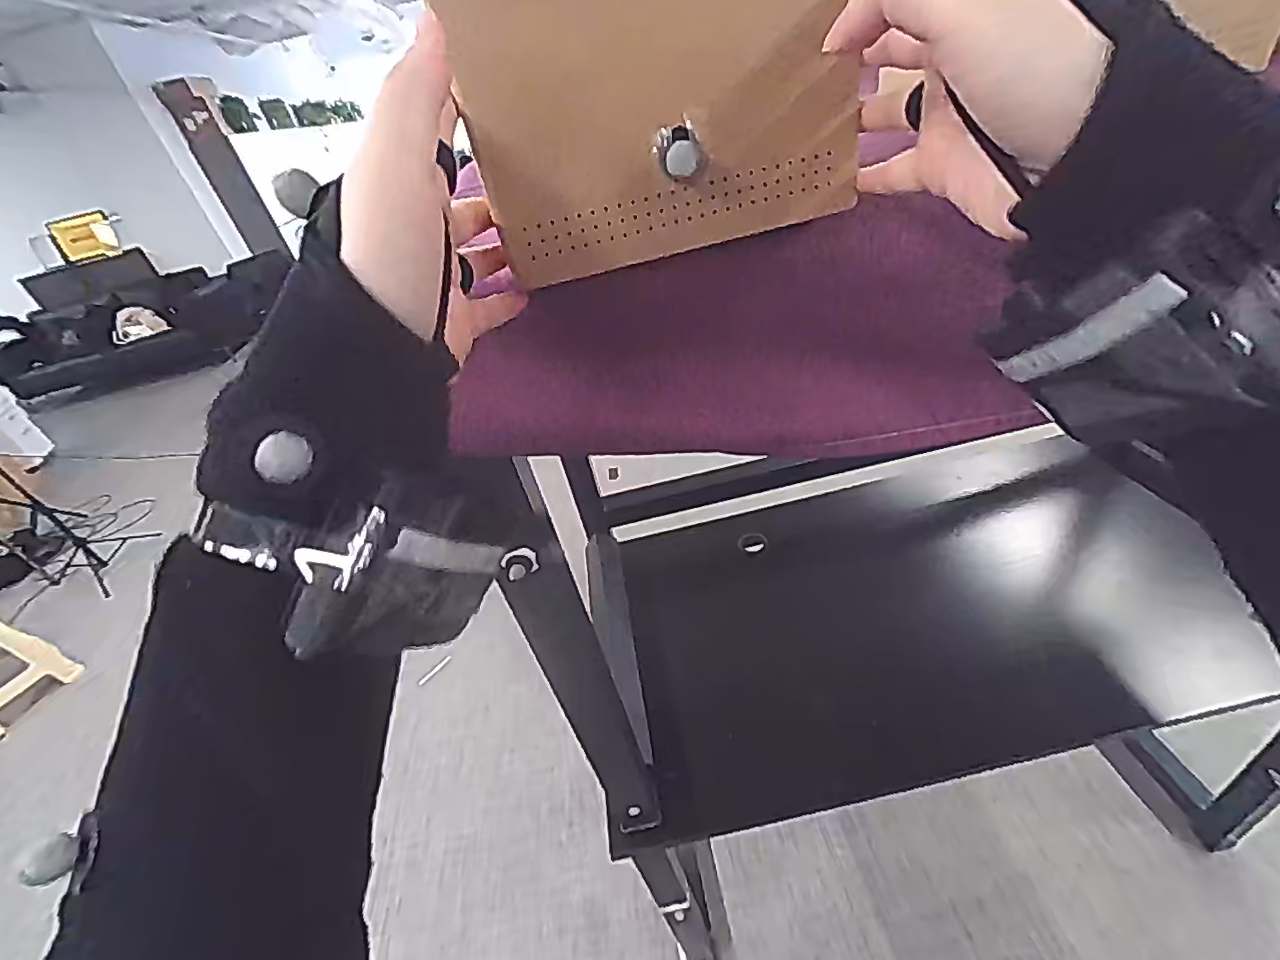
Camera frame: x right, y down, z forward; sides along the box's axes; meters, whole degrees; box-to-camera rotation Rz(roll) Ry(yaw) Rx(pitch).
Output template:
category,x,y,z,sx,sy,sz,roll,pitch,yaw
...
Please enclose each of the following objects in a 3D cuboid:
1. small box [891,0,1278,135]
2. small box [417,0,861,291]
category,x,y,z,sx,sy,sz,roll,pitch,yaw
small box,0.282,-0.343,0.355,0.179,0.176,0.168,-12,36,3
small box,-0.005,-0.215,0.275,0.179,0.176,0.168,-15,35,-3
